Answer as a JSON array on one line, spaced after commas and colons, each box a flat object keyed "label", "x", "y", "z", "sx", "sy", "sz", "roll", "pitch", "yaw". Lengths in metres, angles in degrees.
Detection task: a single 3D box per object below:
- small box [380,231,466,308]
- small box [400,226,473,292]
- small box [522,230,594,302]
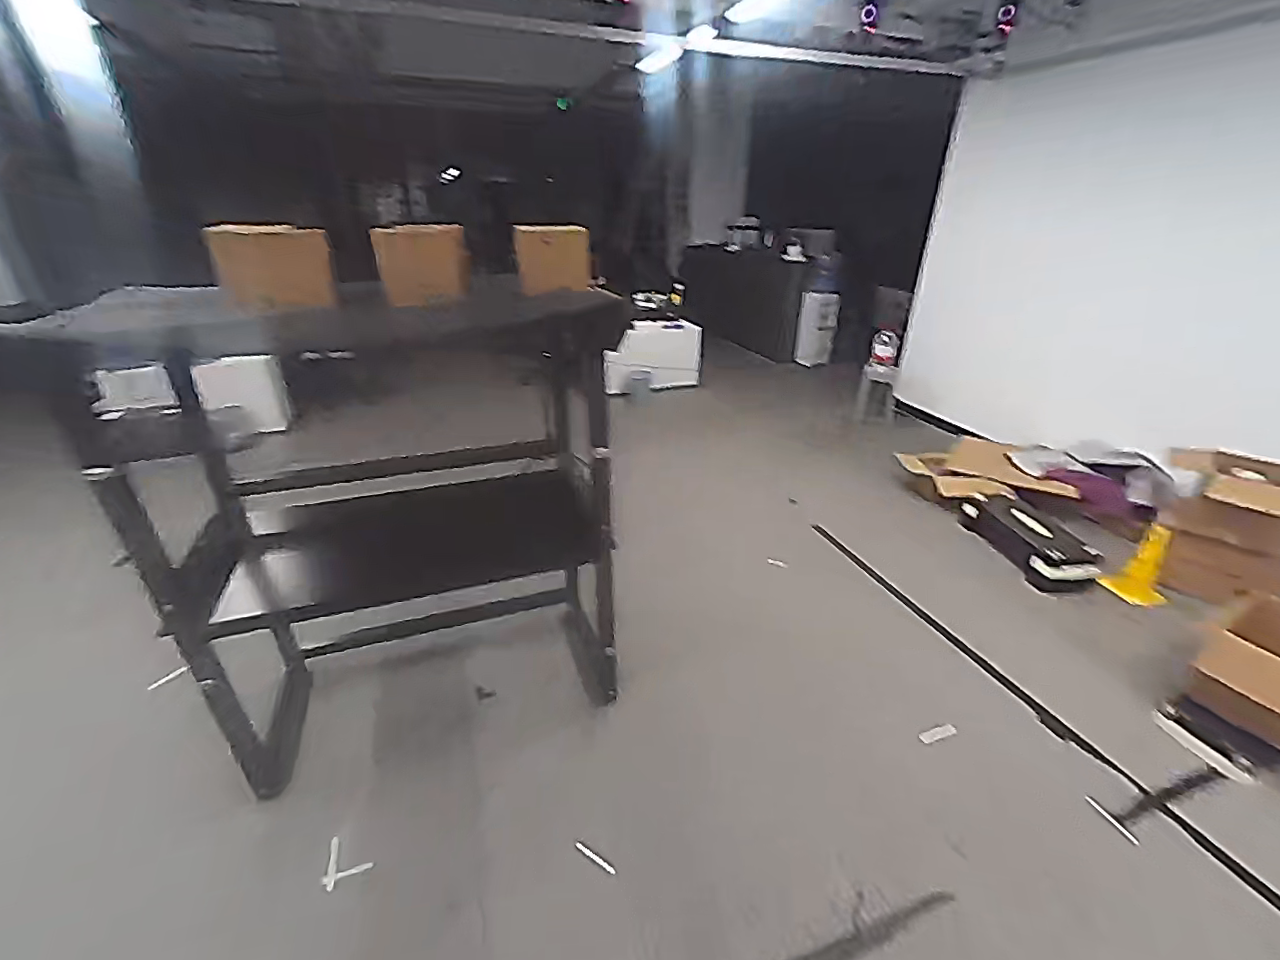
[{"label": "small box", "x": -0.545, "y": -0.531, "z": 1.359, "sx": 0.168, "sy": 0.176, "sz": 0.179, "roll": -13, "pitch": 31, "yaw": -24}, {"label": "small box", "x": -0.576, "y": -0.631, "z": 1.553, "sx": 0.179, "sy": 0.176, "sz": 0.168, "roll": -8, "pitch": 28, "yaw": -16}, {"label": "small box", "x": -0.220, "y": -0.571, "z": 1.438, "sx": 0.168, "sy": 0.176, "sz": 0.179, "roll": -8, "pitch": 27, "yaw": -14}]
